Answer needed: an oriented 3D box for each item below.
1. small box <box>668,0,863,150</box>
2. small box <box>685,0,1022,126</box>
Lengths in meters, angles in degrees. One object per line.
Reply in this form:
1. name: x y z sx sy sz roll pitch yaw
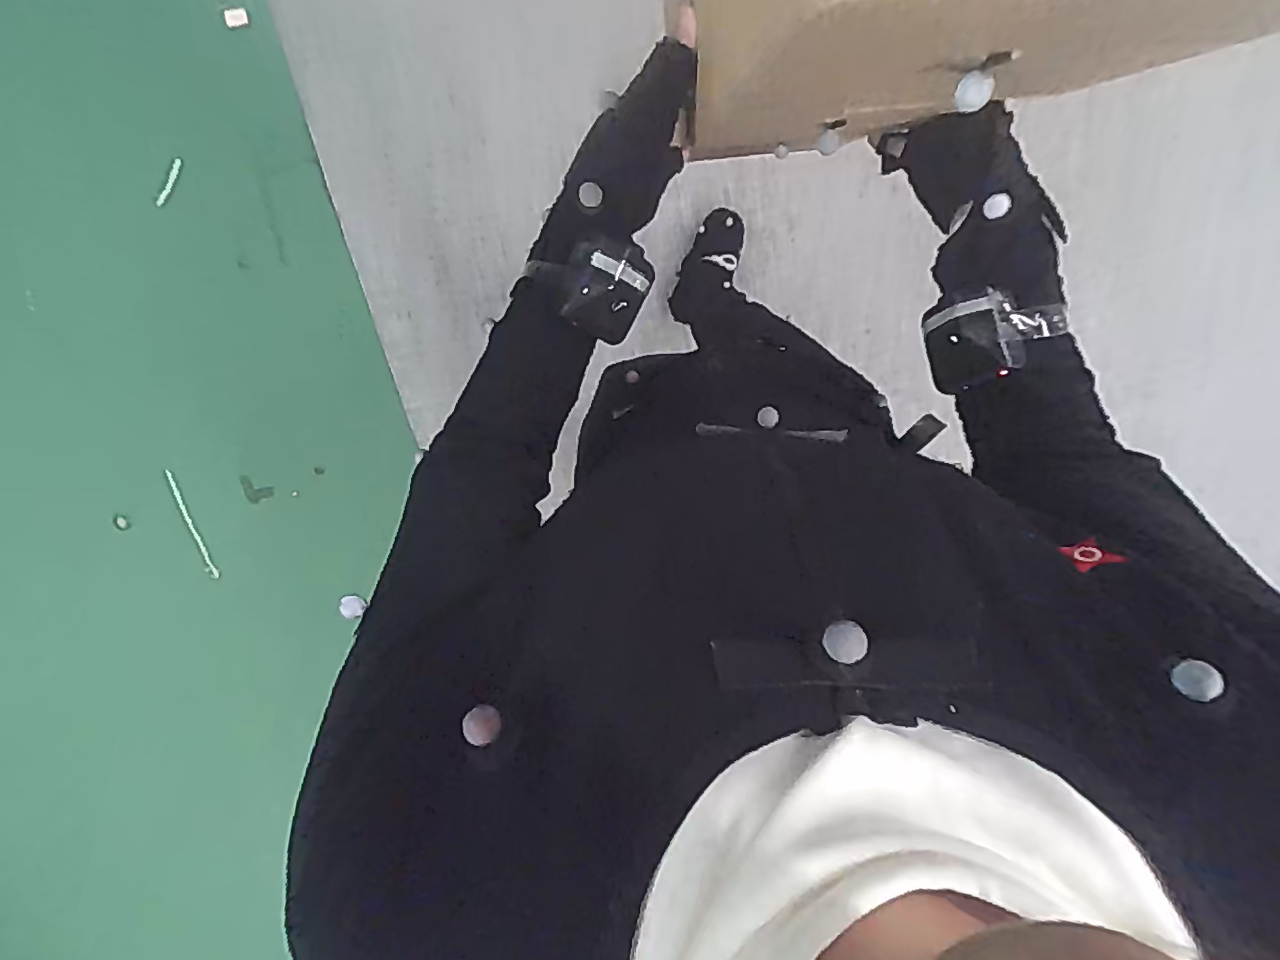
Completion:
1. small box: 0.116 -0.392 0.460 0.179 0.176 0.168 -6 116 0
2. small box: 0.116 -0.319 0.313 0.168 0.176 0.179 -5 117 1
